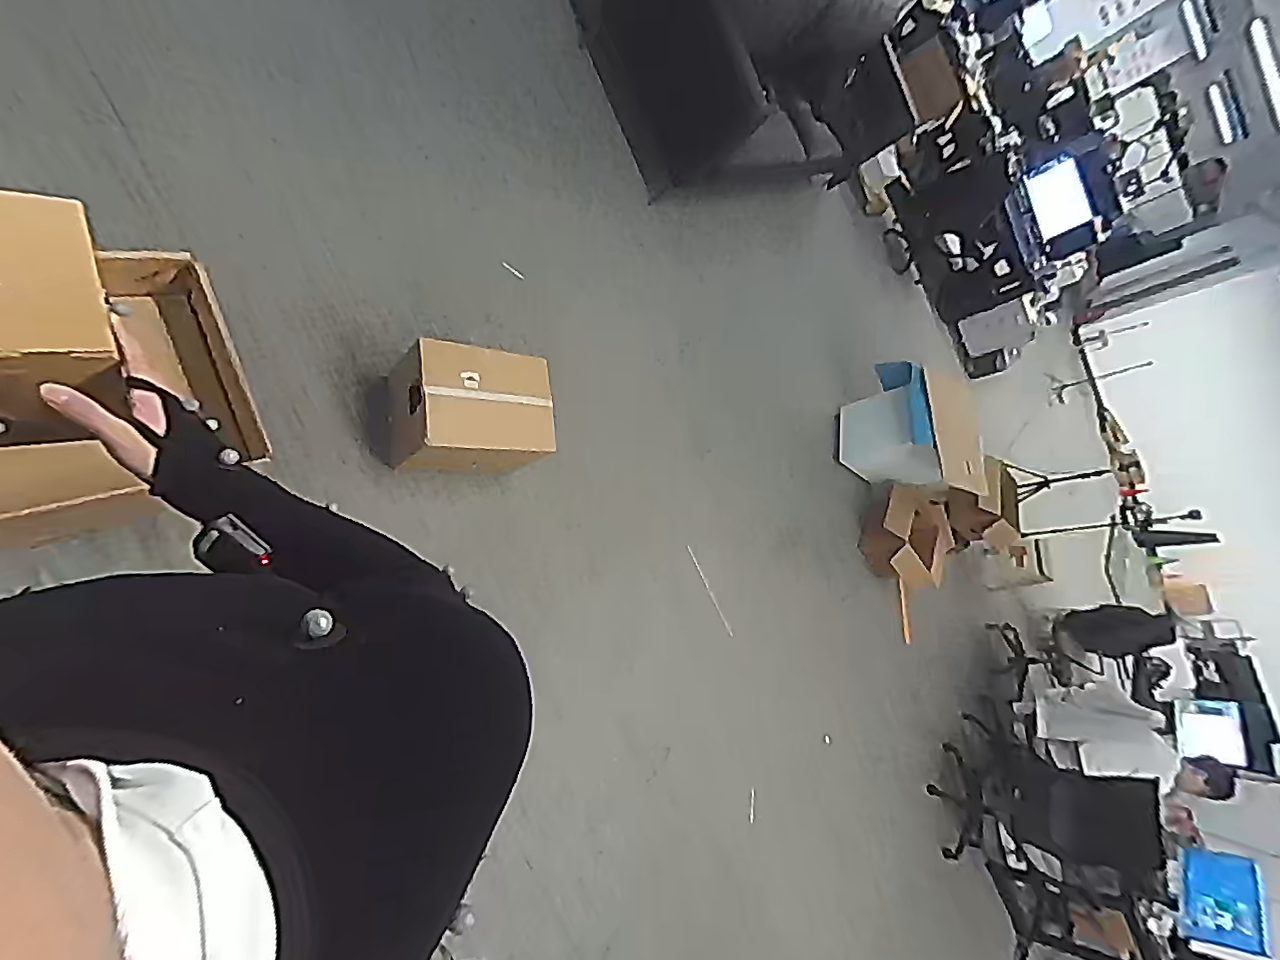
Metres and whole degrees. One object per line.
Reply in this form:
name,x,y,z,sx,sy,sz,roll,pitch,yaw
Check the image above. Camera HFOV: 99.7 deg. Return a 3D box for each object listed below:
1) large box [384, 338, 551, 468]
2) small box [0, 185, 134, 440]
large box,-0.540,-0.215,1.687,0.408,0.320,0.320,0,78,-40
small box,-0.611,-0.153,0.511,0.168,0.176,0.179,-15,76,-43
